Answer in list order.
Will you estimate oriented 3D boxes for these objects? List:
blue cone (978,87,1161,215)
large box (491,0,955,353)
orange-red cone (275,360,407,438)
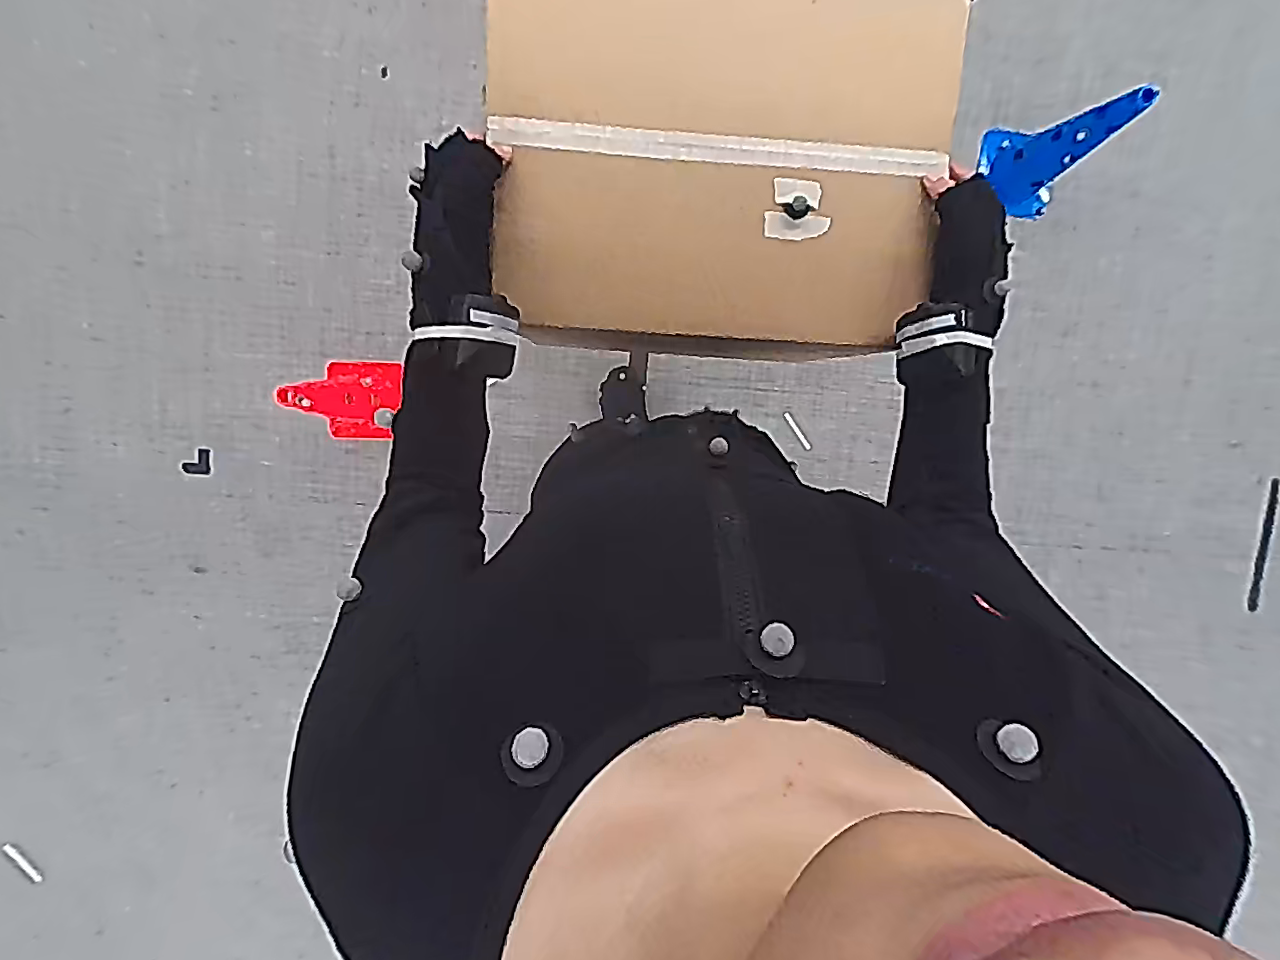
[{"bbox_3d":[0.987,-0.776,1.243,0.192,0.380,0.193,7,97,-4],"label":"blue cone"},{"bbox_3d":[0.059,-0.320,0.621,0.408,0.320,0.320,2,100,-5],"label":"large box"},{"bbox_3d":[-0.702,-0.185,1.235,0.198,0.360,0.199,2,98,-1],"label":"orange-red cone"}]
